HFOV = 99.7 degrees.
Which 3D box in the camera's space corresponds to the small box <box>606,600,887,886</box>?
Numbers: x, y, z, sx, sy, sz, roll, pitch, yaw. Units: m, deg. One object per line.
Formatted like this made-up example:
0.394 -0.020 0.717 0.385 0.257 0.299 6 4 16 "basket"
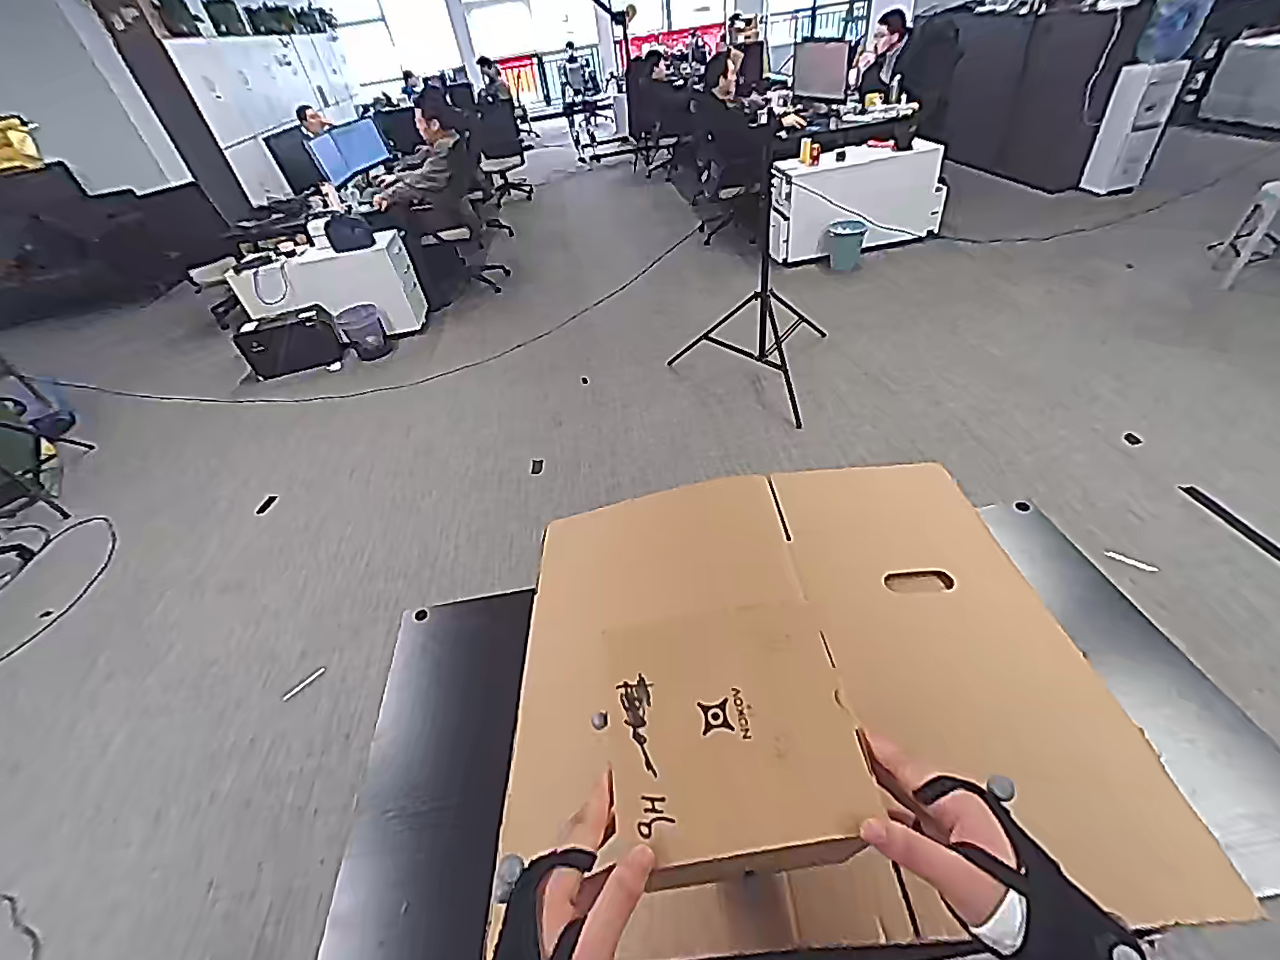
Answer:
0.071 0.223 0.455 0.179 0.176 0.168 -8 48 -1 "small box"
